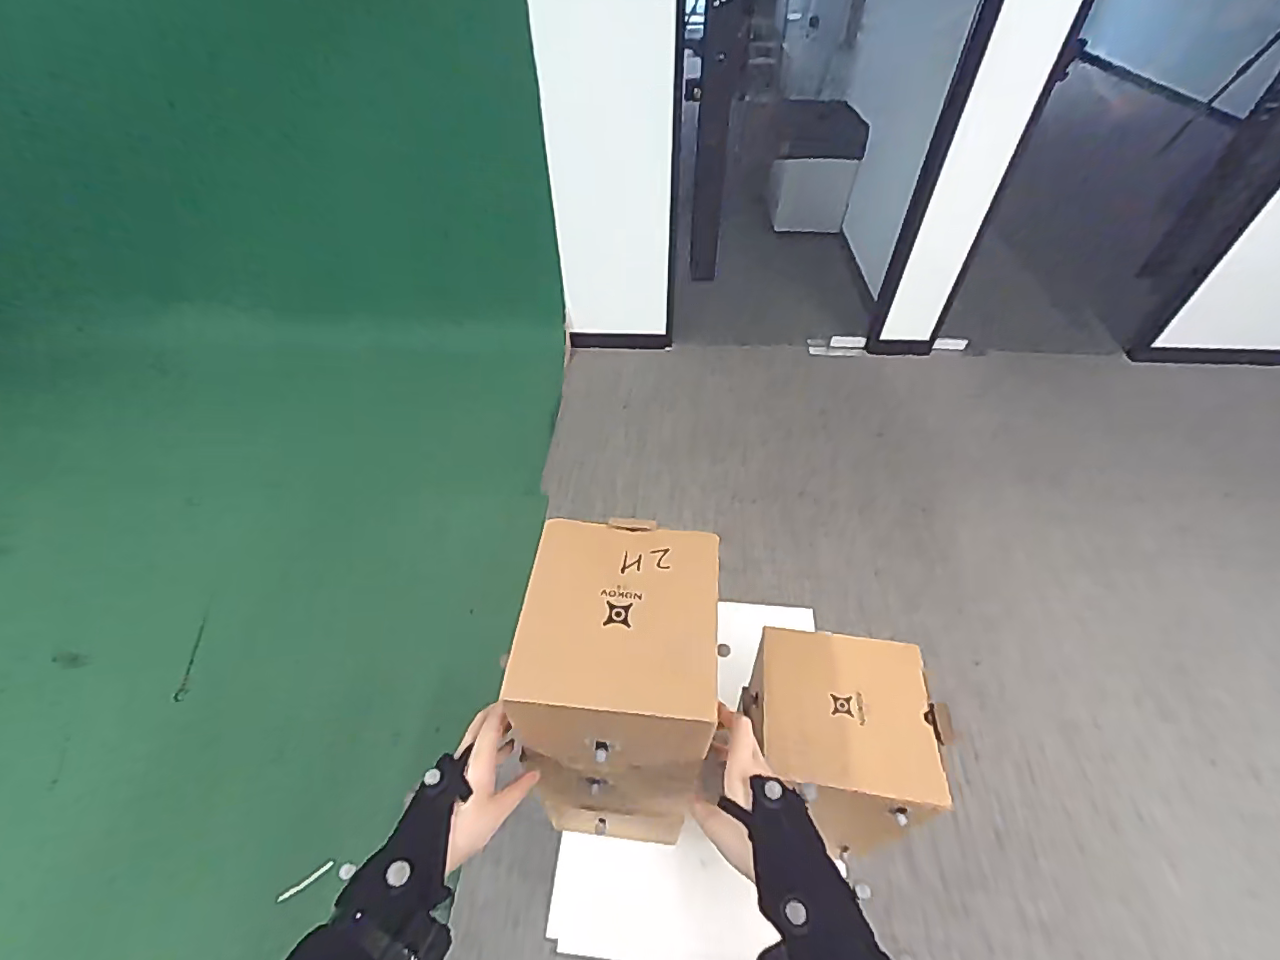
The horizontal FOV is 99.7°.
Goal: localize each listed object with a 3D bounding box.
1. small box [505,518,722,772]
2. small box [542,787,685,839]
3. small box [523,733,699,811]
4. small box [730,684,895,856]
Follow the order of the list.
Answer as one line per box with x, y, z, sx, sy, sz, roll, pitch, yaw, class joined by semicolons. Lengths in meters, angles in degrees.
-0.015;0.161;0.516;0.168;0.176;0.179;6;48;2;small box
-0.024;0.386;0.756;0.179;0.176;0.168;5;49;4;small box
-0.023;0.273;0.636;0.179;0.176;0.168;5;48;3;small box
0.222;0.401;0.743;0.179;0.176;0.168;3;48;6;small box
